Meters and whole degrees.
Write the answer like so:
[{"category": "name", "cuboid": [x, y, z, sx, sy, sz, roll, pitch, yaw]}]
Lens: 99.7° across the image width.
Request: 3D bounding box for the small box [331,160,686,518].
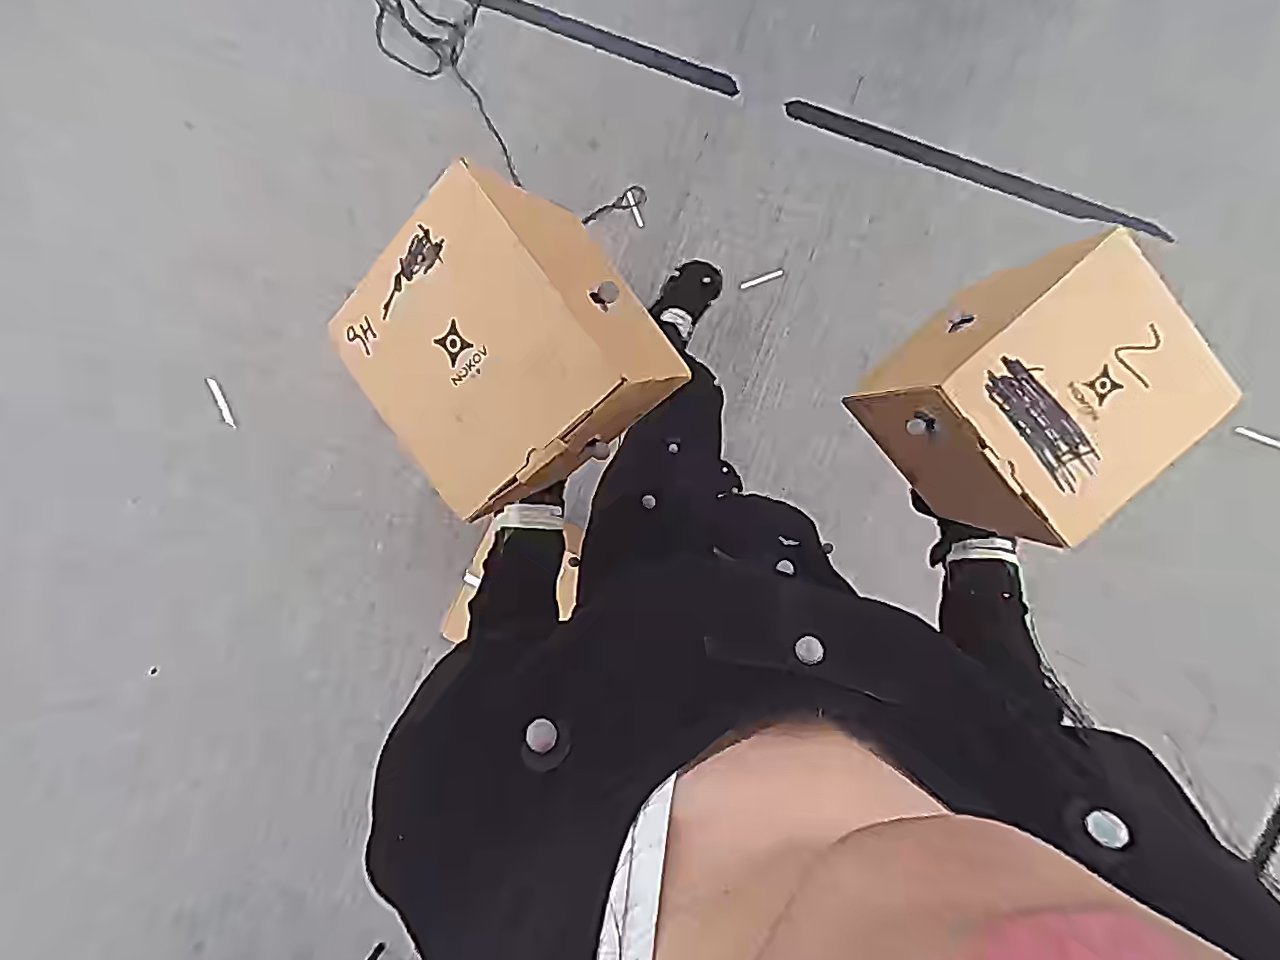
[{"category": "small box", "cuboid": [-0.087, -0.102, 0.430, 0.168, 0.176, 0.179, -37, 89, 22]}]
